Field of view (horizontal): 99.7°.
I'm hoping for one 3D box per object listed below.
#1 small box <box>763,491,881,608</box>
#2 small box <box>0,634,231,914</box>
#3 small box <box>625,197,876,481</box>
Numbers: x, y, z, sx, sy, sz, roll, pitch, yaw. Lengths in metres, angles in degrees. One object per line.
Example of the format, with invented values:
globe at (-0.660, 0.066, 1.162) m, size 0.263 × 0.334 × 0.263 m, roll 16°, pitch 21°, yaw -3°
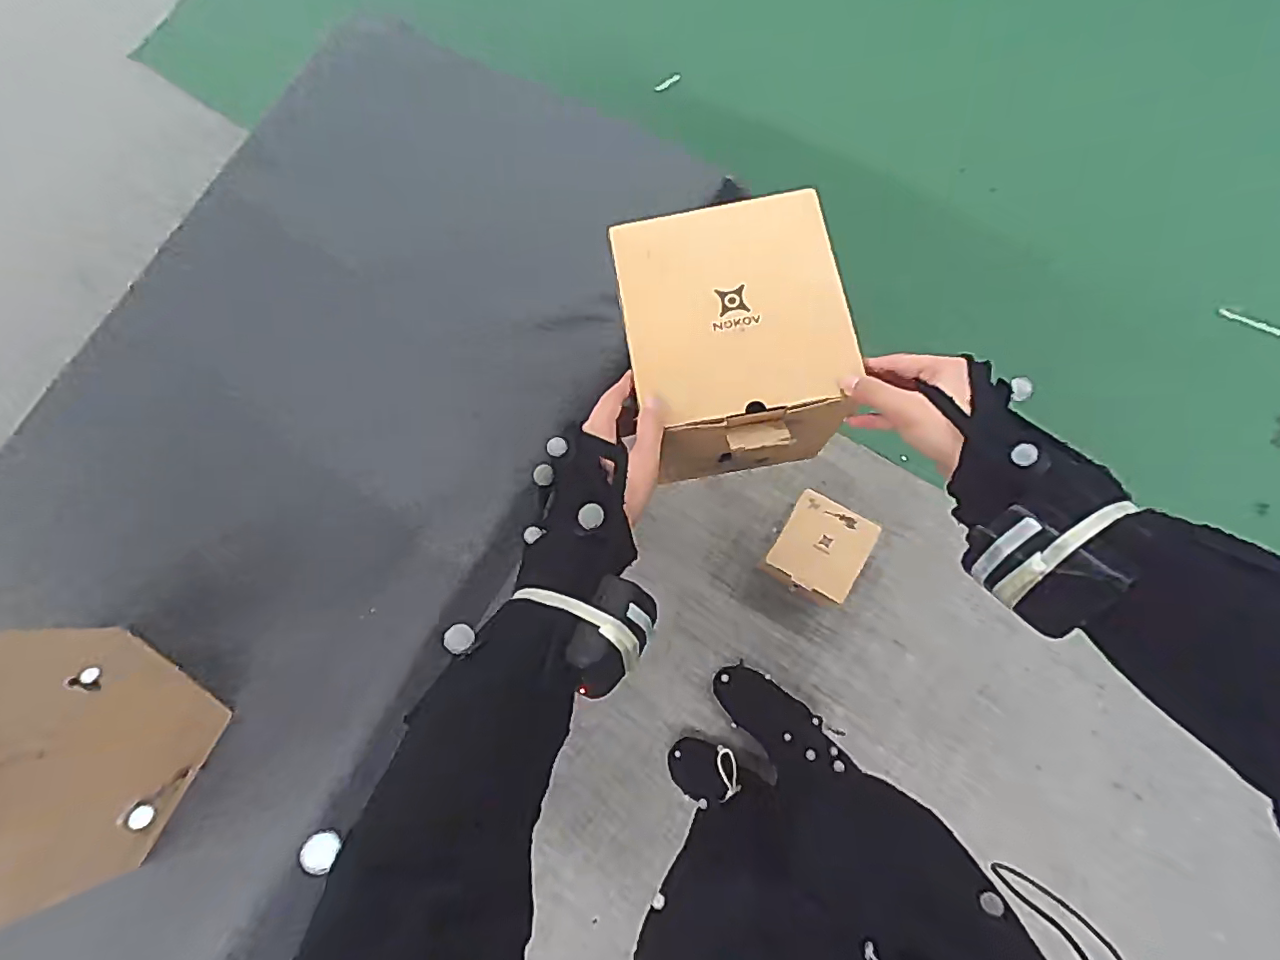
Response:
small box at (0.369, 0.151, 1.129) m, size 0.168 × 0.176 × 0.179 m, roll 29°, pitch 83°, yaw 15°
small box at (-0.532, 0.250, 0.481) m, size 0.179 × 0.176 × 0.168 m, roll 27°, pitch 82°, yaw 13°
small box at (0.081, -0.111, 0.485) m, size 0.168 × 0.176 × 0.179 m, roll -9°, pitch 76°, yaw 2°
